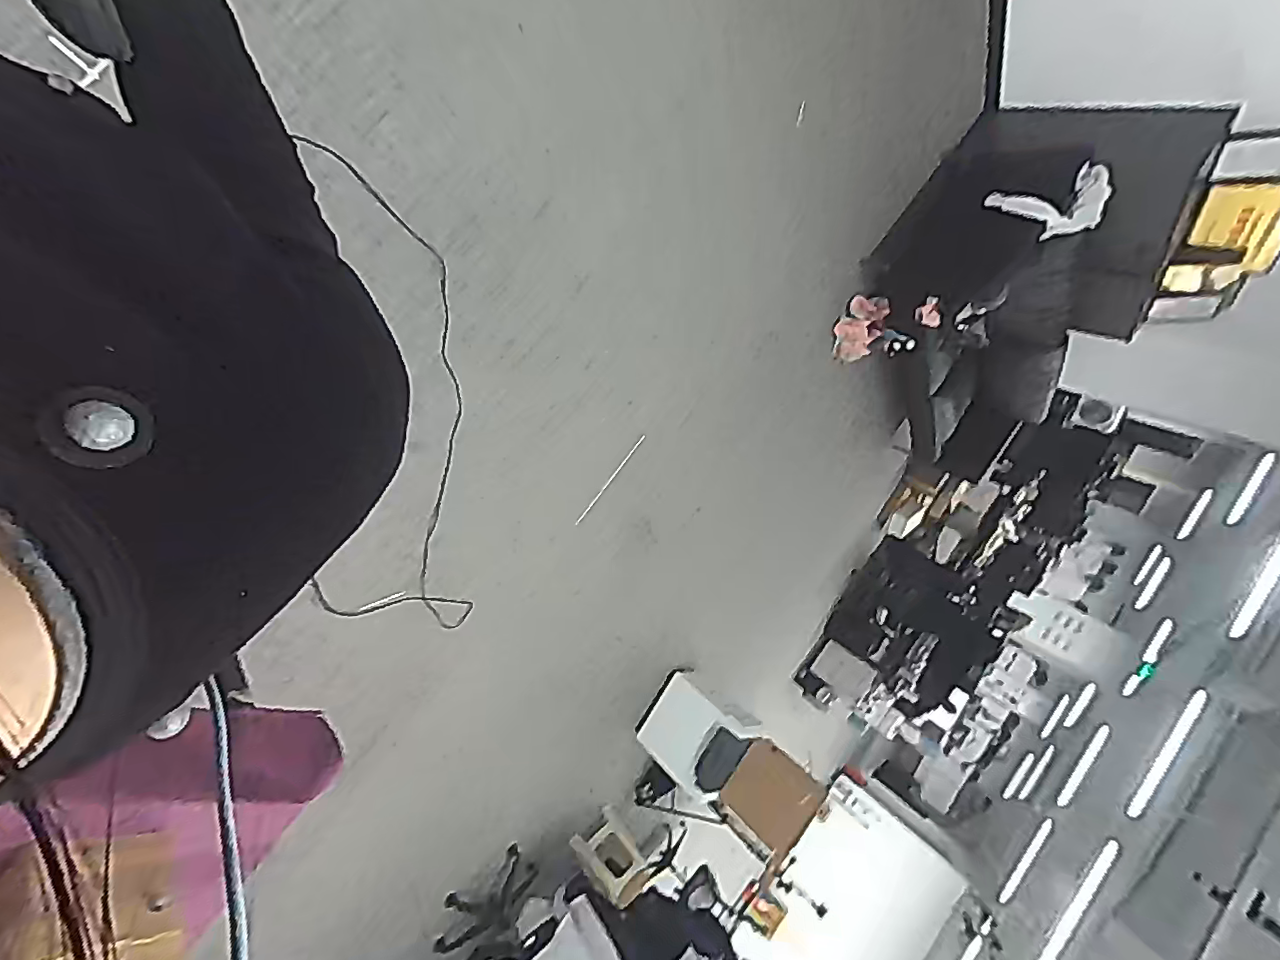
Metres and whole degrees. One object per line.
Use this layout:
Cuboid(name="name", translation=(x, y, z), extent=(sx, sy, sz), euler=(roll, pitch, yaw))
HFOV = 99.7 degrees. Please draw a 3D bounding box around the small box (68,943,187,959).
Cuboid(name="small box", translation=(-0.660, 0.692, 0.629), extent=(0.179, 0.176, 0.168), euler=(-53, 141, -2))
